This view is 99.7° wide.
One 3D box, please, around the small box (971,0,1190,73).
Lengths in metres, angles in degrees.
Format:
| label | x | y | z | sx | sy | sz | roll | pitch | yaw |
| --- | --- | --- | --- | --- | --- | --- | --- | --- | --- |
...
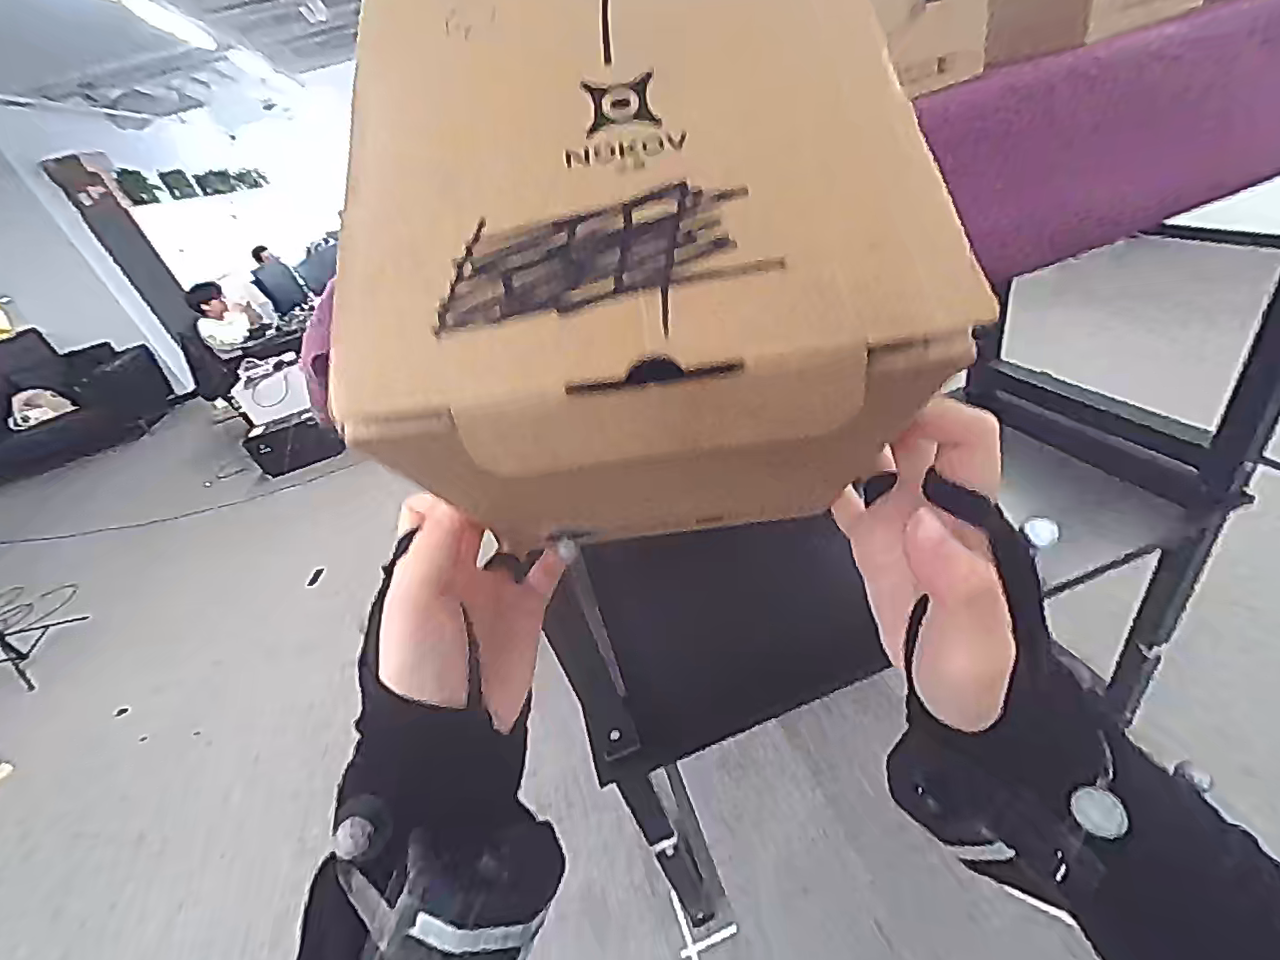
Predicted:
| label | x | y | z | sx | sy | sz | roll | pitch | yaw |
| --- | --- | --- | --- | --- | --- | --- | --- | --- | --- |
| small box | 0.457 | -0.562 | 0.575 | 0.168 | 0.176 | 0.179 | -23 | 33 | -10 |

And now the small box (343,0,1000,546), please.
| label | x | y | z | sx | sy | sz | roll | pitch | yaw |
| --- | --- | --- | --- | --- | --- | --- | --- | --- | --- |
| small box | 0.003 | -0.074 | 0.233 | 0.168 | 0.176 | 0.179 | -8 | 71 | 1 |
